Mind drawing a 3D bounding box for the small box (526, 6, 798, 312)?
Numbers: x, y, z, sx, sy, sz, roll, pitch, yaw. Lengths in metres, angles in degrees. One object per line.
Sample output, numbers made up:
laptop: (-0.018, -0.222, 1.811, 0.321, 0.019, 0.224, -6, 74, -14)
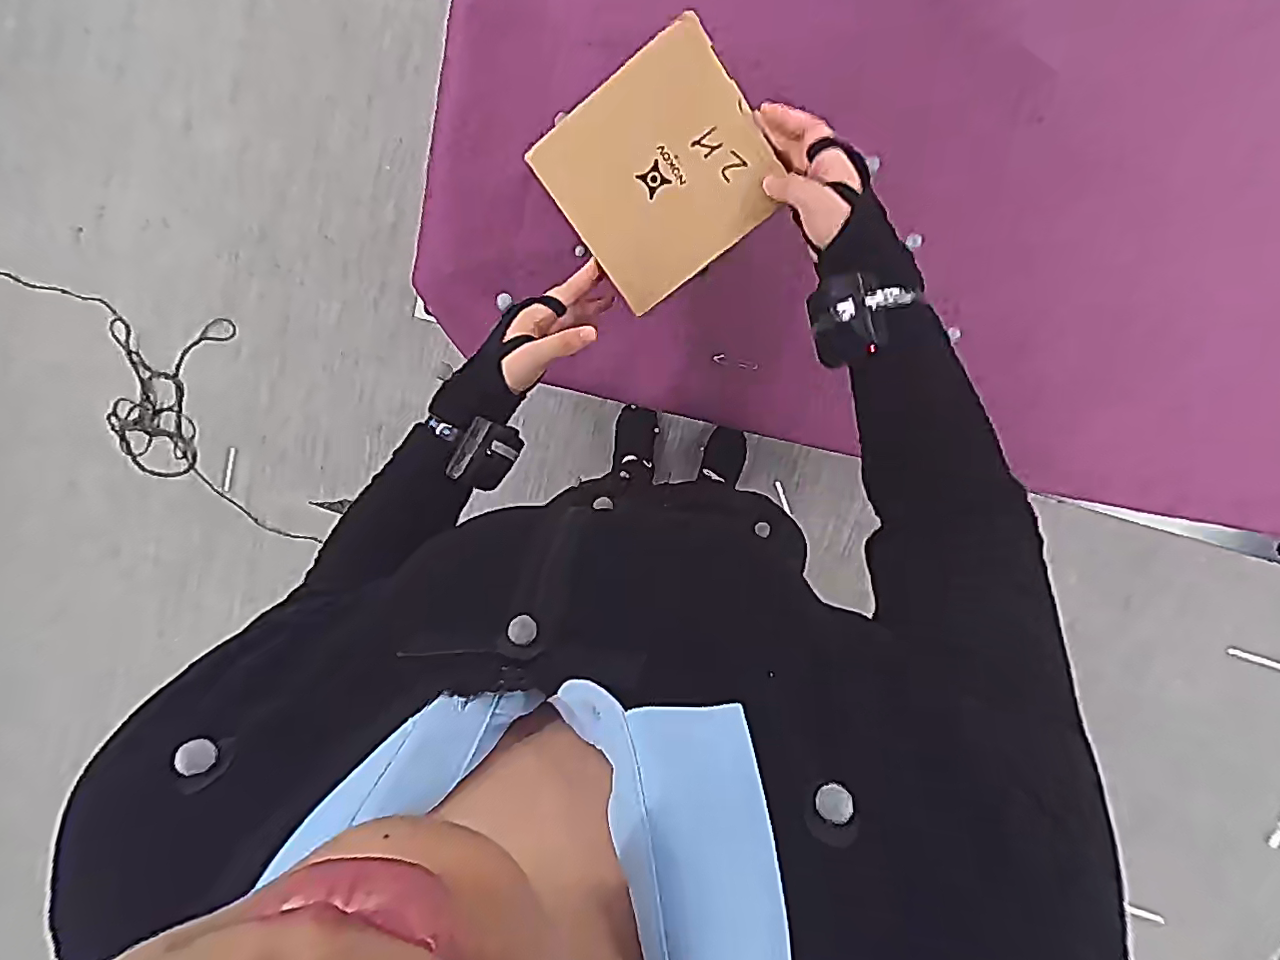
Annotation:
small box: (0.020, -0.283, 0.531, 0.179, 0.176, 0.168, -37, 104, 10)
